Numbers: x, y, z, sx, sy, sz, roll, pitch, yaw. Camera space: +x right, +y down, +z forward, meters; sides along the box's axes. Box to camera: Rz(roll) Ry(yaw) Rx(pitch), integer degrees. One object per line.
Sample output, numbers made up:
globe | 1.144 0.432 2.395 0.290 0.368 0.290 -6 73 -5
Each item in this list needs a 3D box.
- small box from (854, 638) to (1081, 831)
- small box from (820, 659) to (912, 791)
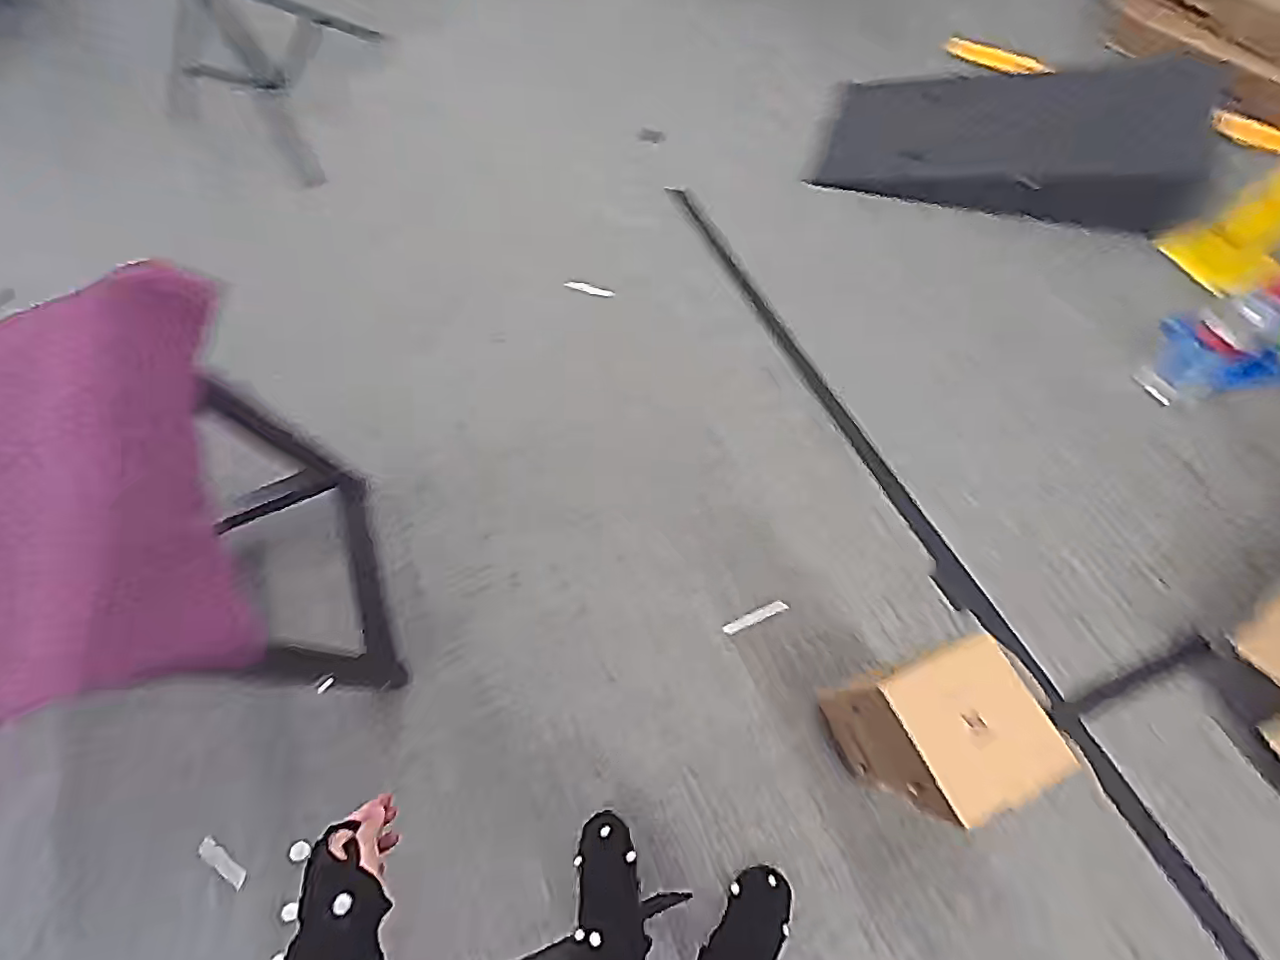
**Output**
small box | 0.429 0.340 0.745 0.168 0.176 0.179 -24 66 -5
small box | 0.470 0.468 1.043 0.168 0.176 0.179 -23 67 -3
